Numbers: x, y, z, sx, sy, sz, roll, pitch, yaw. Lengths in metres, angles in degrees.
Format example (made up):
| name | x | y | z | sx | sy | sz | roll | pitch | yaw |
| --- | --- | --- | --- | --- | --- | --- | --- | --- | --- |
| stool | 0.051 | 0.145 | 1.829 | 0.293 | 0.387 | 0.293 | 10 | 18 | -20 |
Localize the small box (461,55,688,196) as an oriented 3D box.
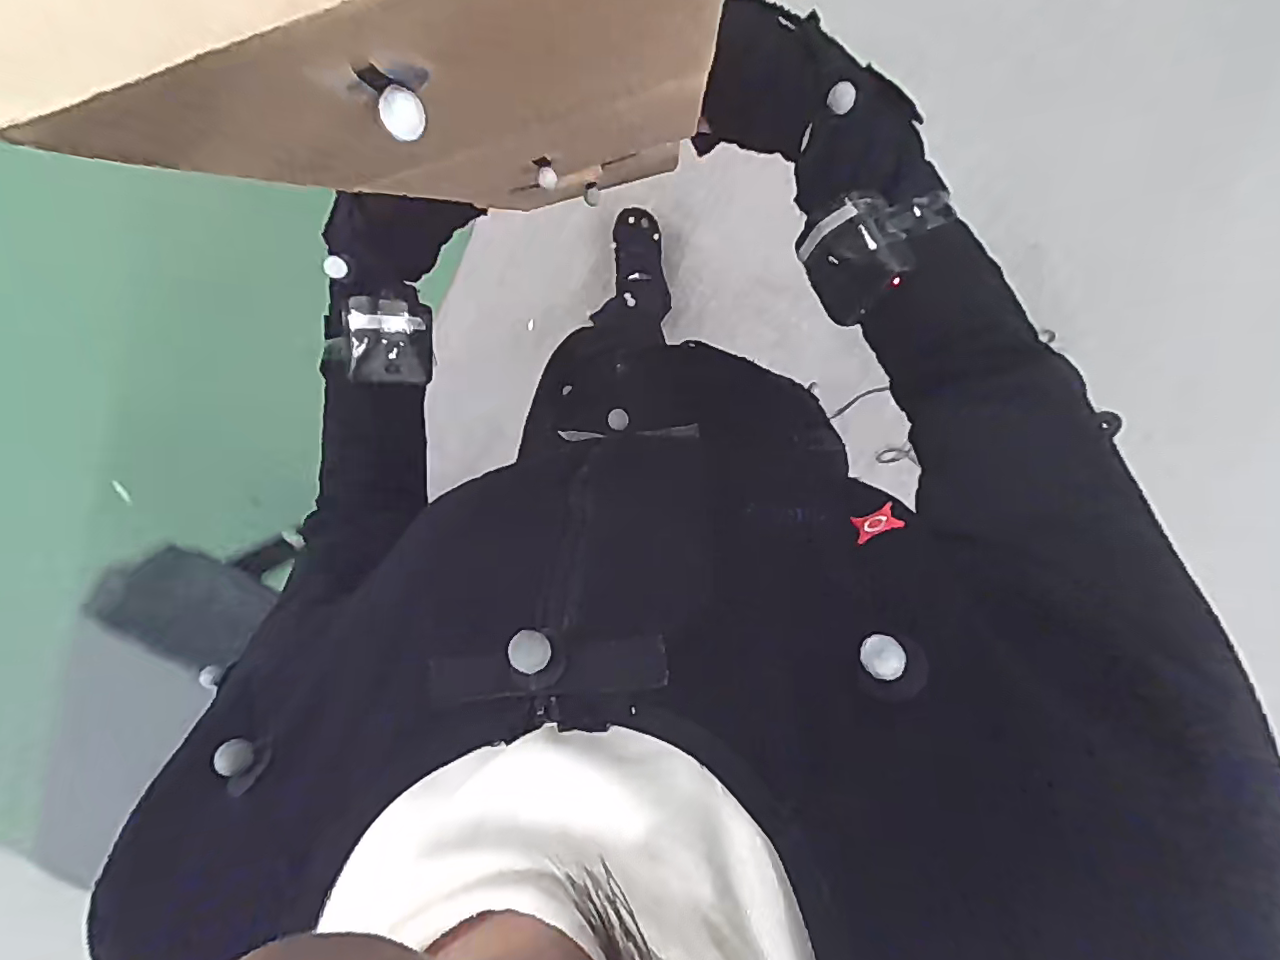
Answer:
| name | x | y | z | sx | sy | sz | roll | pitch | yaw |
| --- | --- | --- | --- | --- | --- | --- | --- | --- | --- |
| small box | -0.056 | -0.346 | 0.437 | 0.168 | 0.176 | 0.179 | -11 | 115 | 10 |
